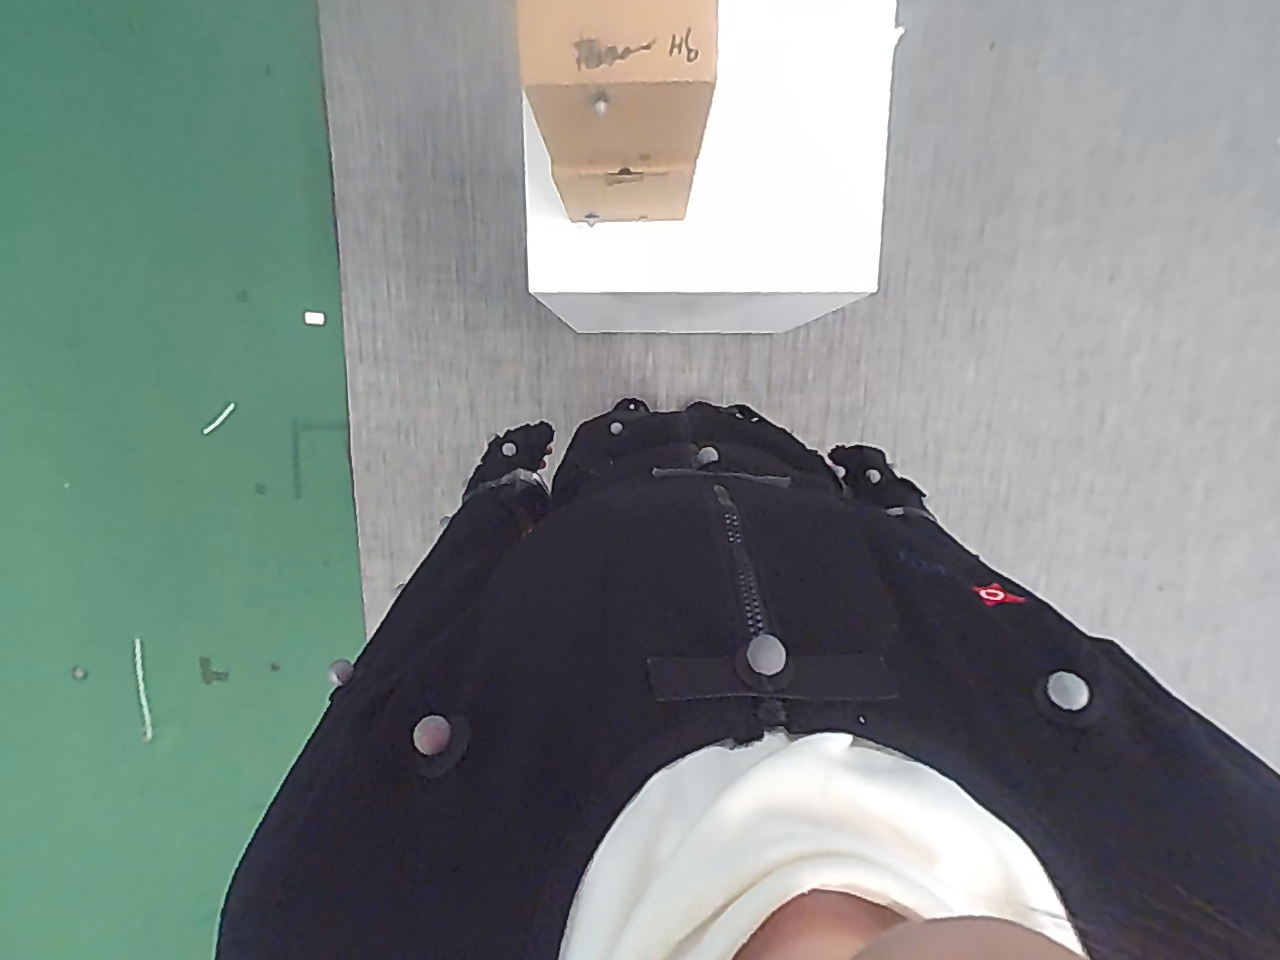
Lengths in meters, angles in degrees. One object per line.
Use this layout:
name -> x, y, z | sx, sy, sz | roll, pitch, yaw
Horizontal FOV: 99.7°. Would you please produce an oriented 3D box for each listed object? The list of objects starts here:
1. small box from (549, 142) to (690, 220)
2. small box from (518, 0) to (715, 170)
small box -> -0.021, -0.443, 0.685 | 0.168, 0.176, 0.179 | -1, 98, 1
small box -> -0.019, -0.429, 0.523 | 0.168, 0.176, 0.179 | -1, 98, 1
